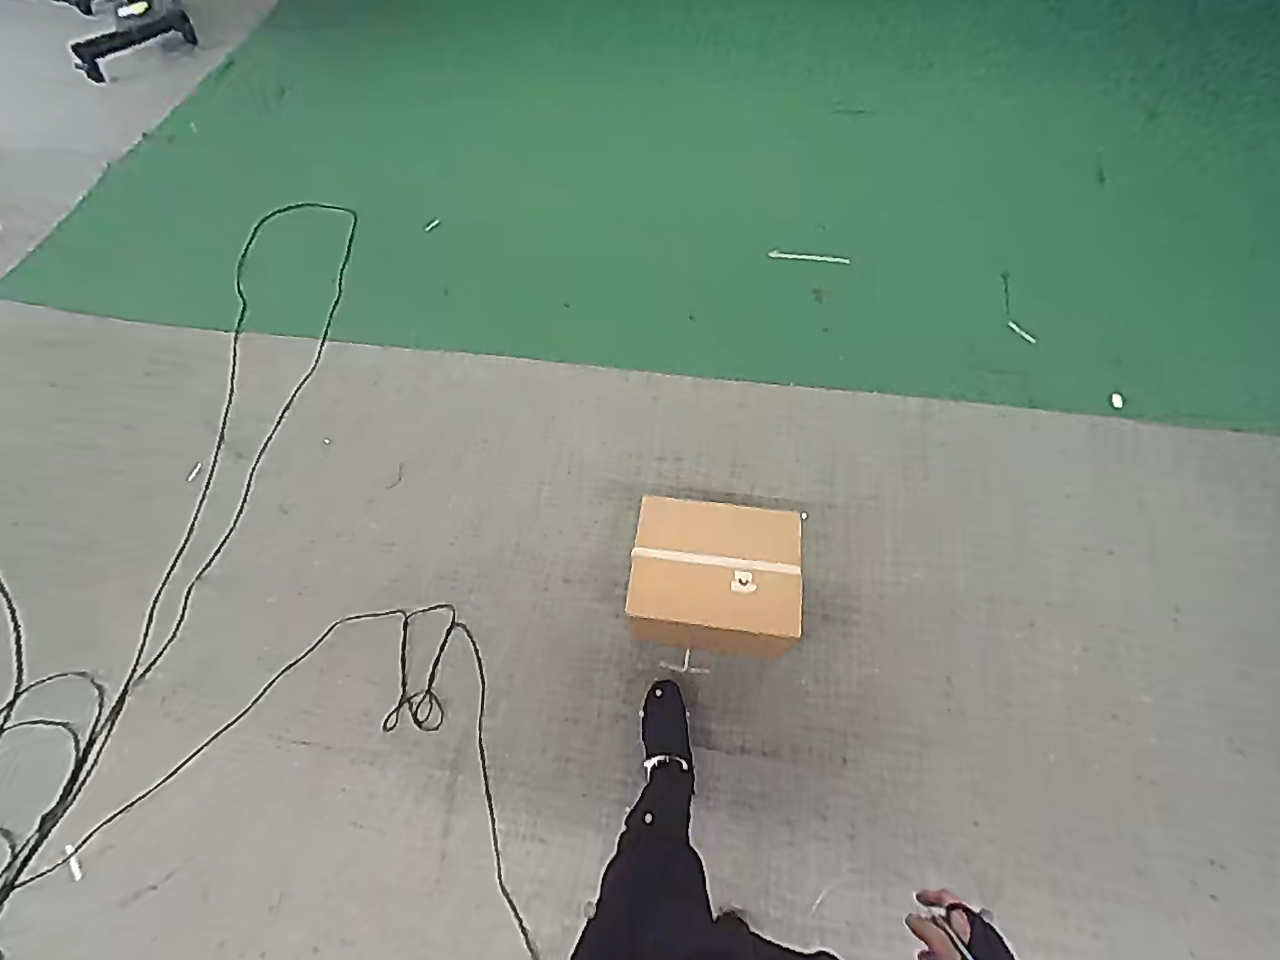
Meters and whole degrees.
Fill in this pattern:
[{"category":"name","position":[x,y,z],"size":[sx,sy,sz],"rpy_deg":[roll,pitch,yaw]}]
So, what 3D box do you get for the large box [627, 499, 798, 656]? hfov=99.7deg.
[{"category":"large box","position":[0.185,0.269,1.450],"size":[0.408,0.320,0.320],"rpy_deg":[5,62,5]}]
